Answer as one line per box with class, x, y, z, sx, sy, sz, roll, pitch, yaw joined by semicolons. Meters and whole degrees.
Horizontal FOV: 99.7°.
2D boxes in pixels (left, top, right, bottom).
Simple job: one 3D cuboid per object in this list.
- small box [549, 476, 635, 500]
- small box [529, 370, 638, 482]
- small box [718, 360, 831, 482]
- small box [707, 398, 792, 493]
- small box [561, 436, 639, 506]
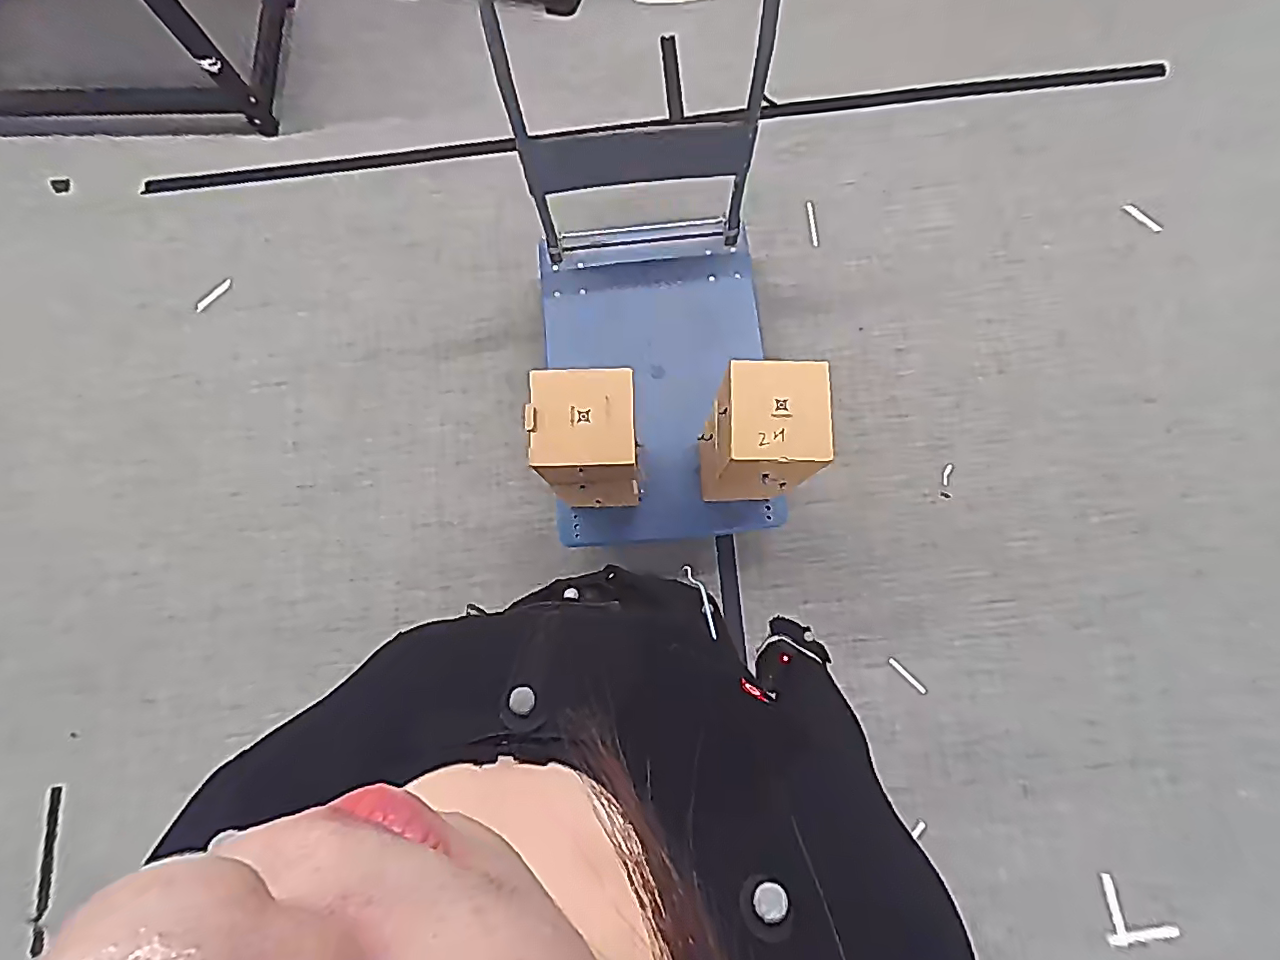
small box;-0.097;-0.062;1.134;0.168;0.176;0.179;-4;78;1
small box;-0.093;-0.089;0.973;0.179;0.176;0.168;-1;81;0
small box;0.231;-0.099;0.969;0.168;0.176;0.179;1;79;1
small box;0.234;-0.066;1.130;0.179;0.176;0.168;0;79;0
small box;-0.090;-0.030;1.296;0.179;0.176;0.168;-1;79;2
